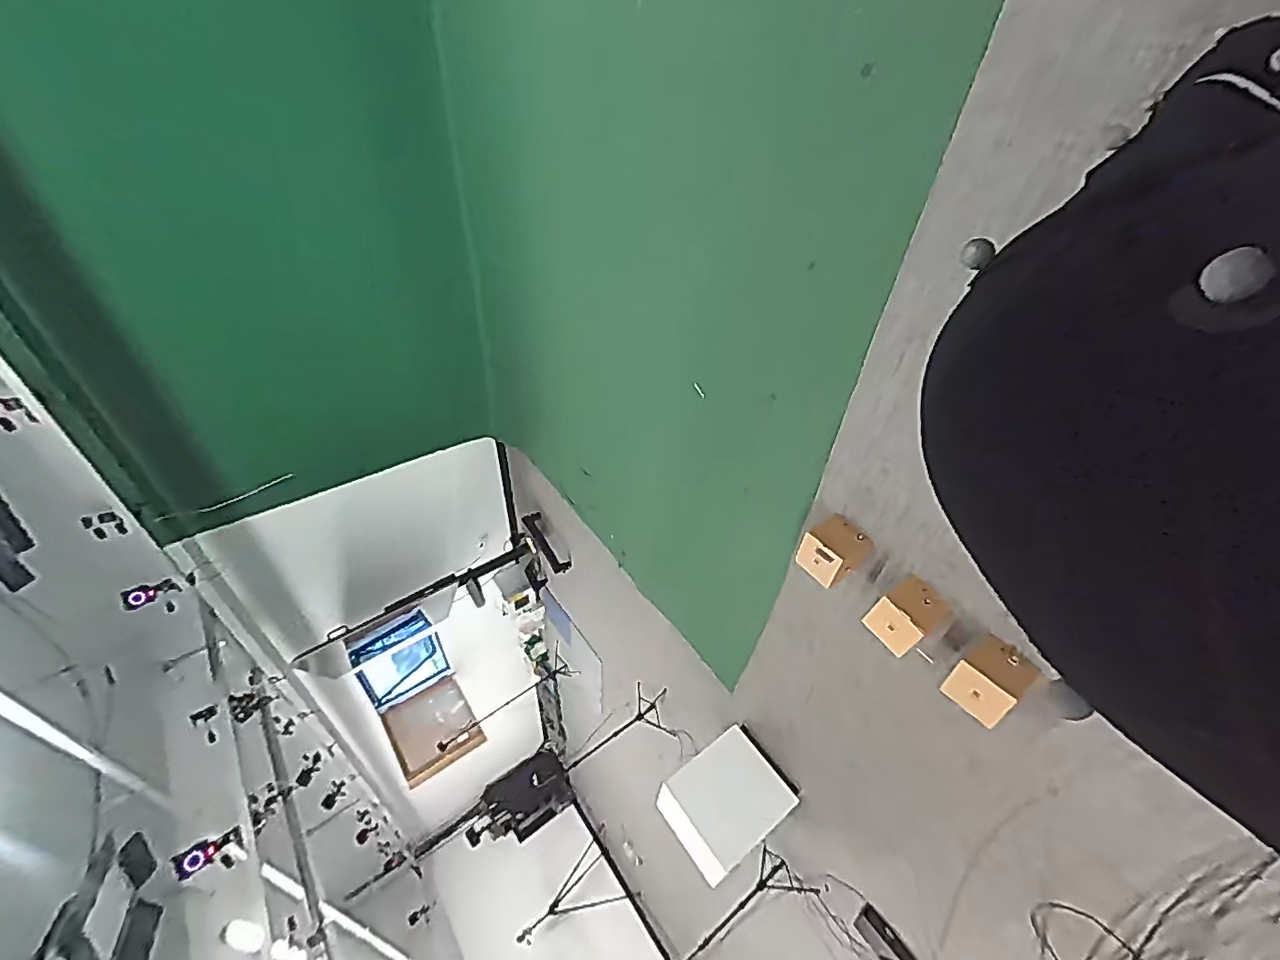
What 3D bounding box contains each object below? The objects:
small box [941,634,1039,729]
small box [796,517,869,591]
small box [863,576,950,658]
[{"bbox_3d":[1.069,0.612,1.649,0.168,0.176,0.179,39,141,36],"label":"small box"},{"bbox_3d":[0.710,0.266,1.990,0.168,0.176,0.179,44,146,34],"label":"small box"},{"bbox_3d":[0.899,0.460,1.821,0.168,0.176,0.179,48,146,30],"label":"small box"}]
